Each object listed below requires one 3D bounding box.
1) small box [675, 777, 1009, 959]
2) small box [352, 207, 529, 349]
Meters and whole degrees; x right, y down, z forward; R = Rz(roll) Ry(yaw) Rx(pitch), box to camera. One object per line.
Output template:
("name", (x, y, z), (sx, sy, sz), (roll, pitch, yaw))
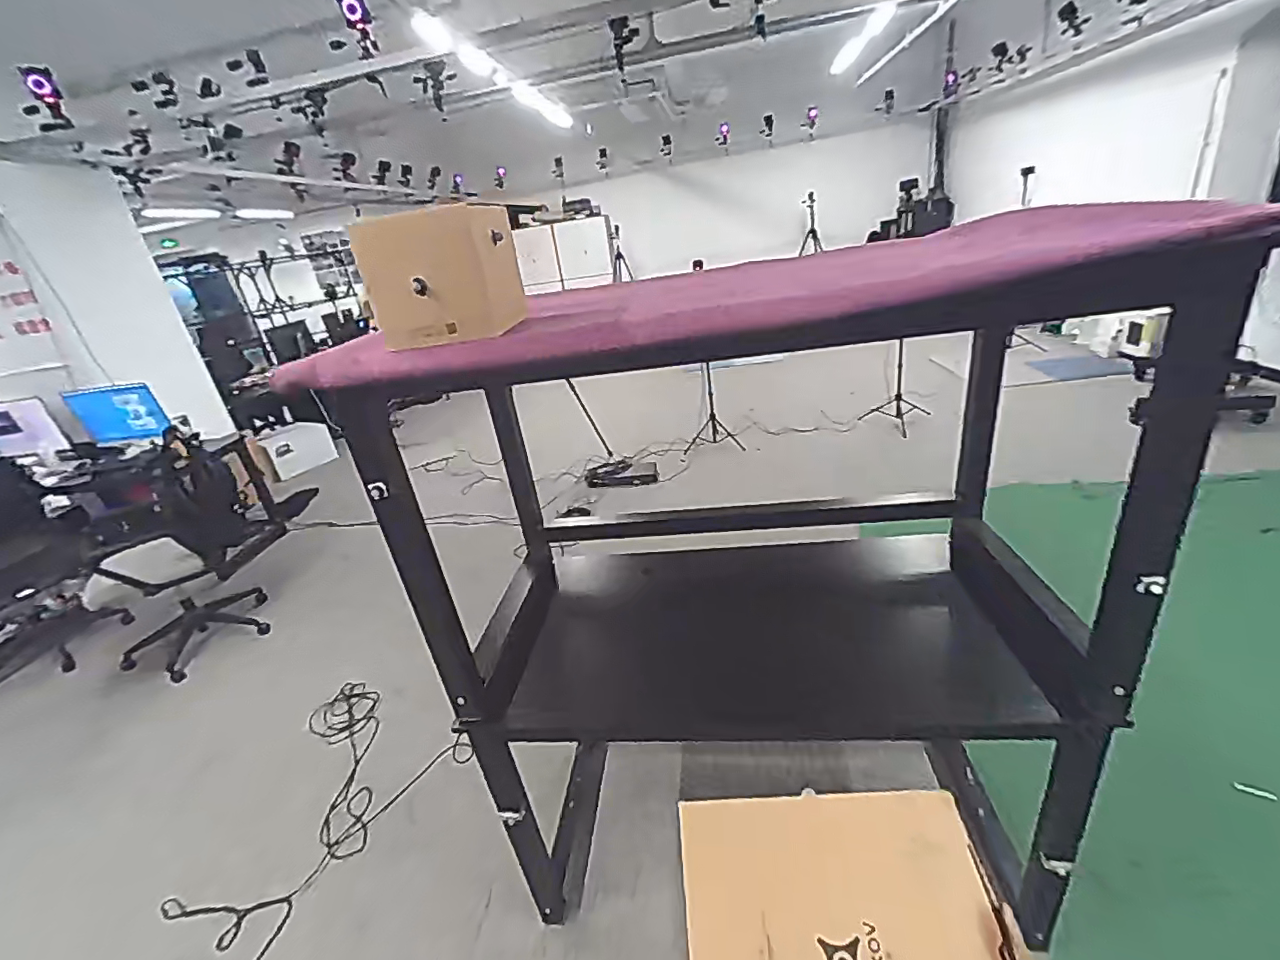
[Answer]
("small box", (0.118, 0.312, 0.352), (0.179, 0.176, 0.168), (-6, 43, 3))
("small box", (-0.274, -0.294, 0.793), (0.168, 0.176, 0.179), (-5, 25, 7))
